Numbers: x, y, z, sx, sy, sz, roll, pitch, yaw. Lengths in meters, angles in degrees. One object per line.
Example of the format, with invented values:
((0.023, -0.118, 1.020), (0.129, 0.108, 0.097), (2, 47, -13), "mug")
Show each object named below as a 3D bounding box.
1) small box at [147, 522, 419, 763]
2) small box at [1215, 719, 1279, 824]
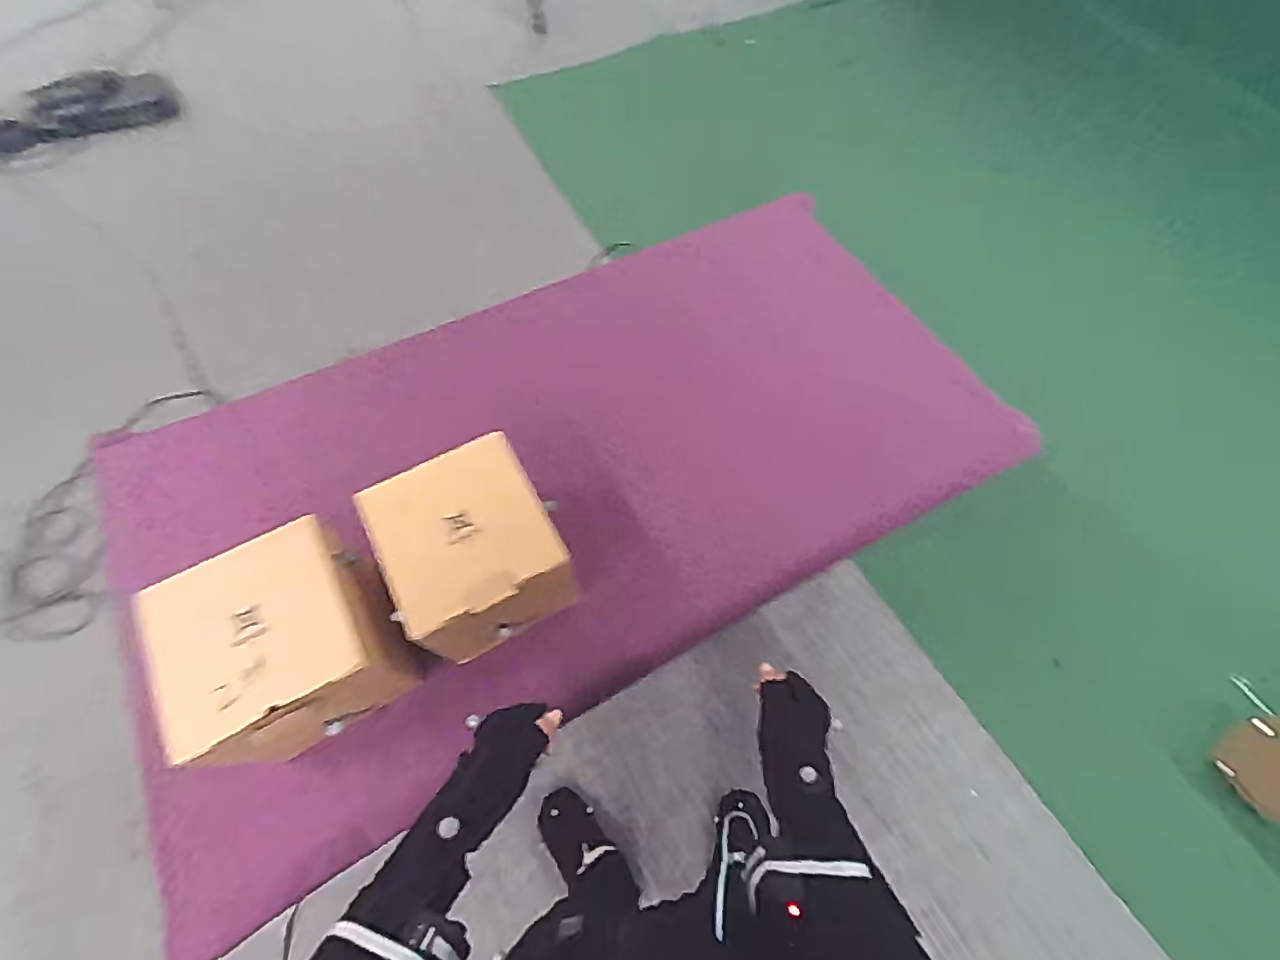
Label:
((-0.368, 0.179, 0.583), (0.168, 0.176, 0.179), (-28, 68, -15), "small box")
((1.492, 0.666, 1.229), (0.179, 0.176, 0.168), (-27, 68, -15), "small box")
